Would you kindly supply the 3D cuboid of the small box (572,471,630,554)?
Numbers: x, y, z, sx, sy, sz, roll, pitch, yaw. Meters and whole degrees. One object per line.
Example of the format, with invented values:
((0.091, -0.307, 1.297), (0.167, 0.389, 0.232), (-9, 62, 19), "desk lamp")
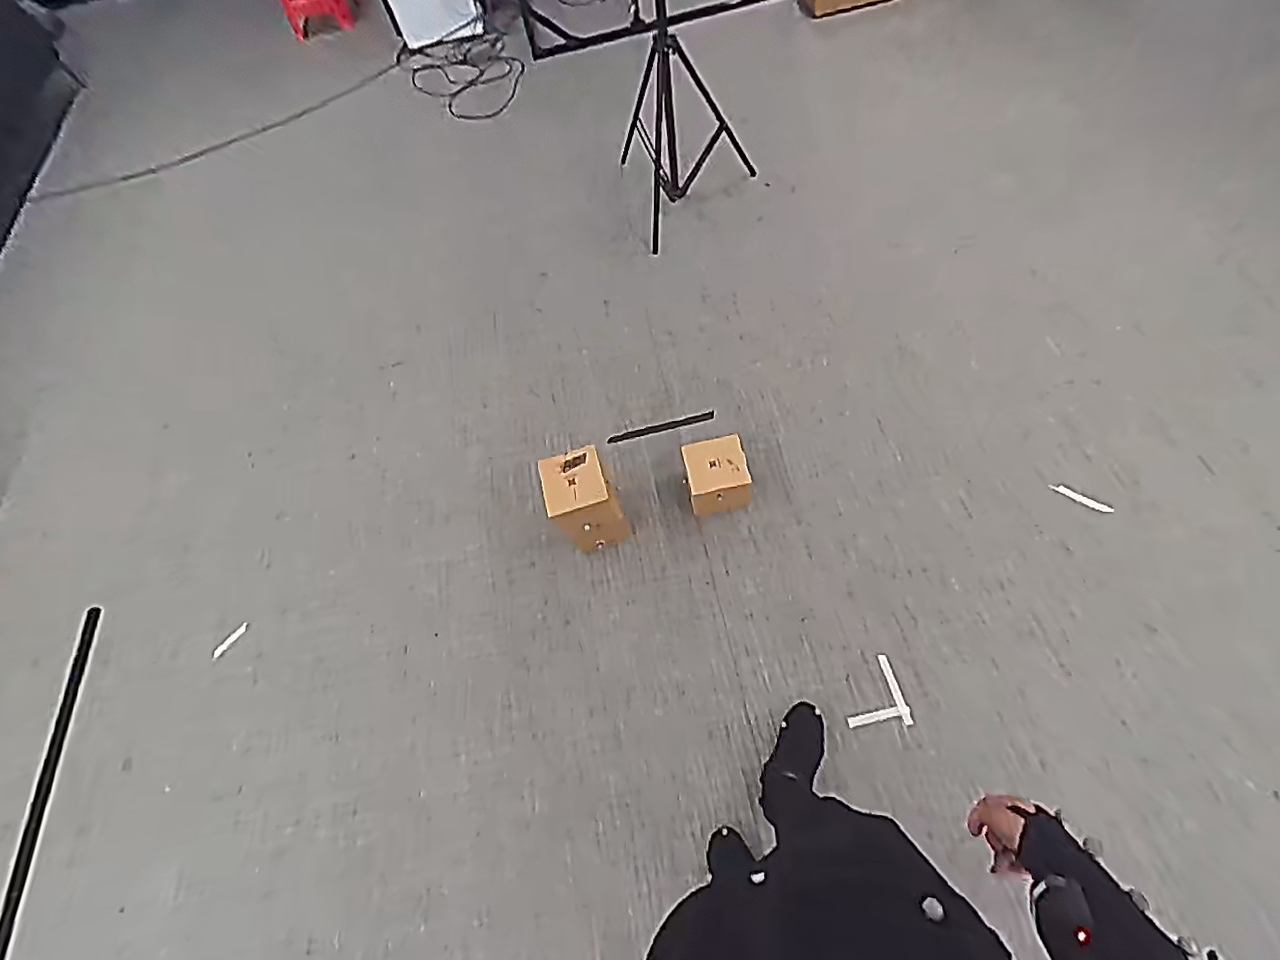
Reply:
((-0.138, 0.103, 1.649), (0.168, 0.176, 0.179), (-18, 64, 0), "small box")

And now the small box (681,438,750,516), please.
((0.228, -0.002, 1.643), (0.179, 0.176, 0.168), (-11, 64, 2), "small box")

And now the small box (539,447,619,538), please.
((-0.167, 0.039, 1.501), (0.168, 0.176, 0.179), (-17, 64, 1), "small box")
